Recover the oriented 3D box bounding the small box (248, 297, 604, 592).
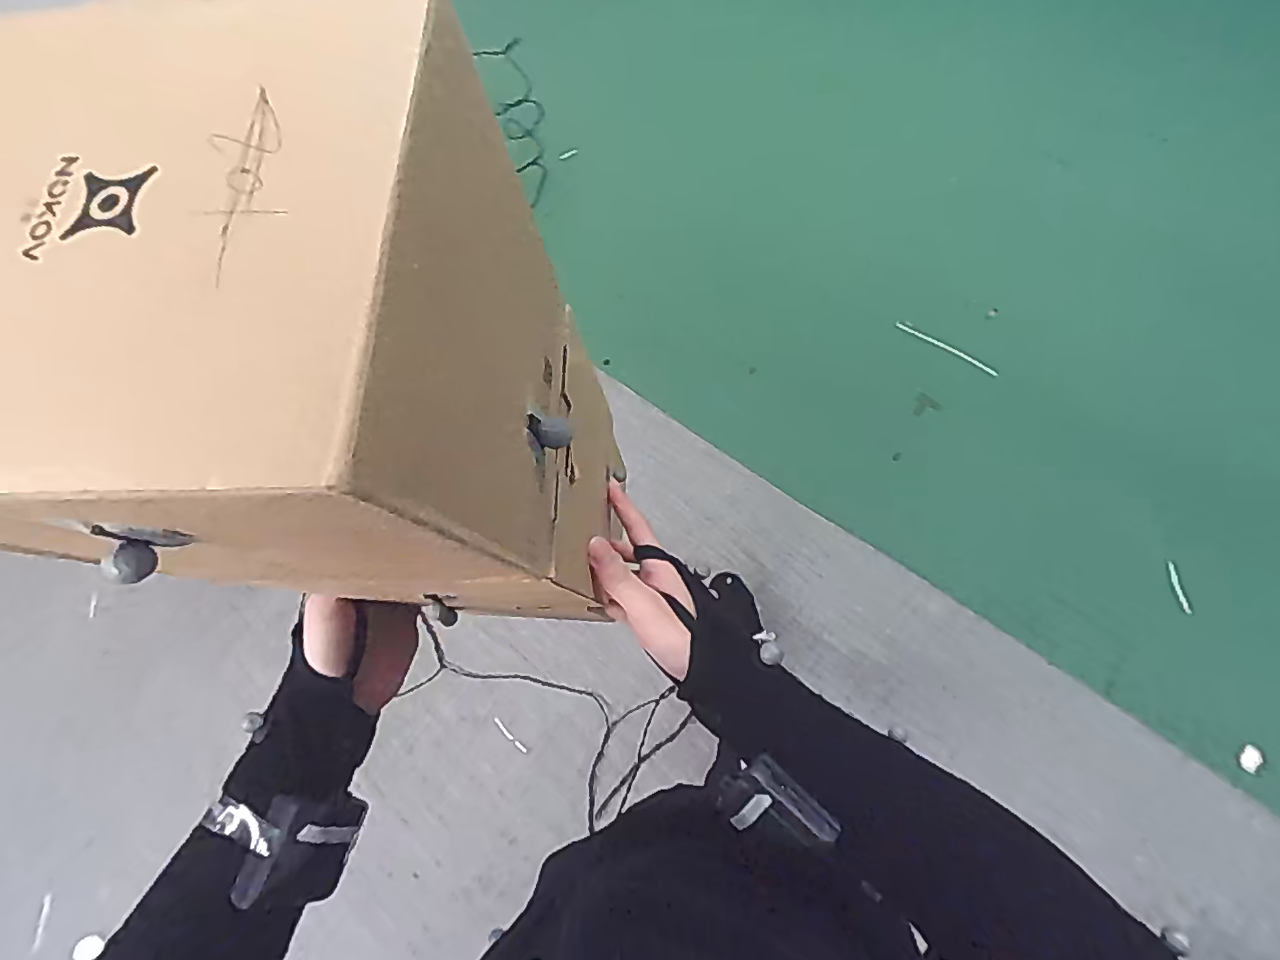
[{"bbox_3d":[-0.124,-0.012,0.391,0.179,0.176,0.168,-2,72,7],"label":"small box"}]

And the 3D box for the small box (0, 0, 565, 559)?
[{"bbox_3d":[-0.143,-0.059,0.237,0.179,0.176,0.168,-1,73,7],"label":"small box"}]
